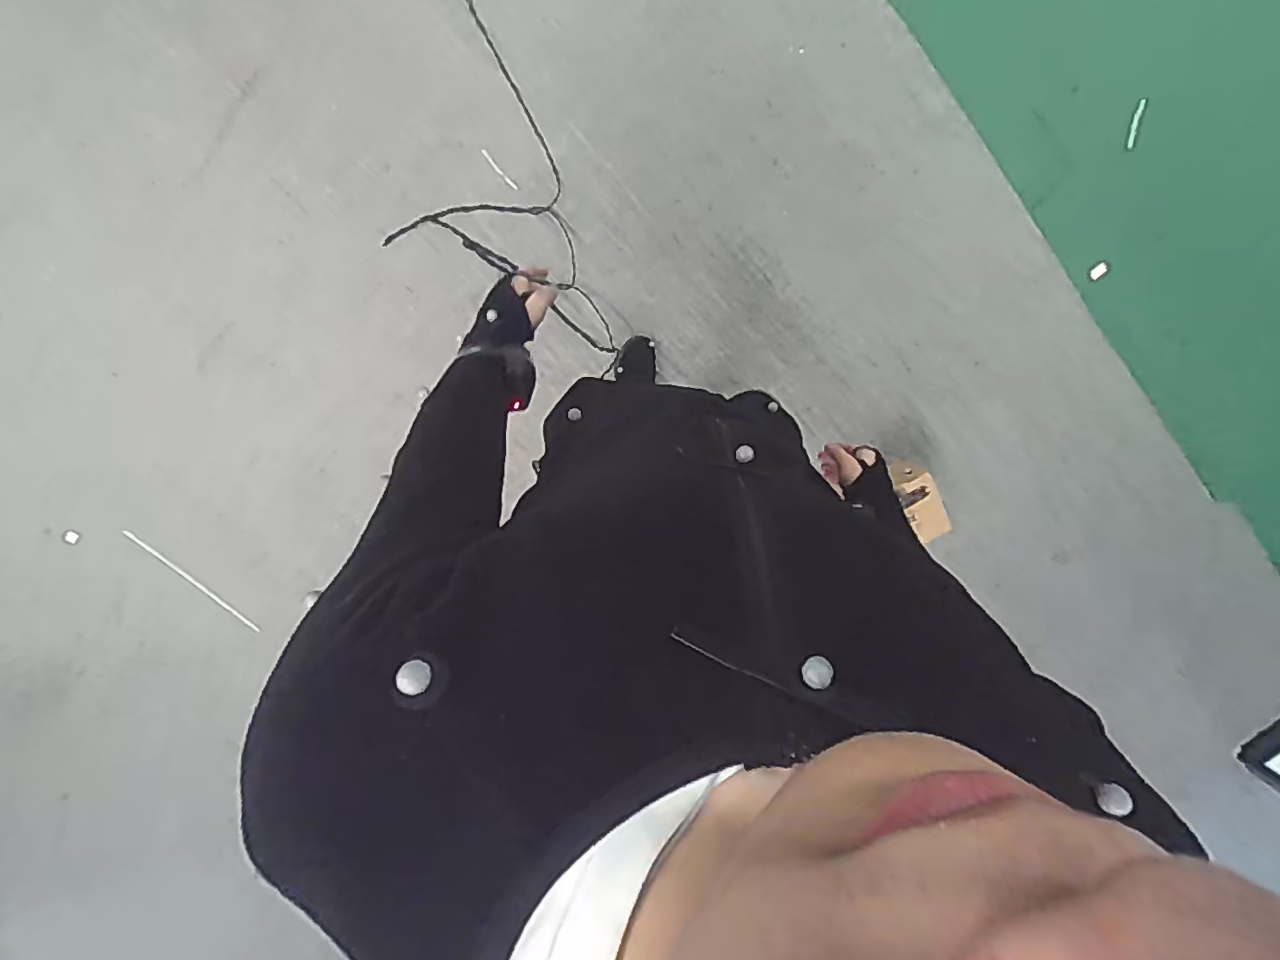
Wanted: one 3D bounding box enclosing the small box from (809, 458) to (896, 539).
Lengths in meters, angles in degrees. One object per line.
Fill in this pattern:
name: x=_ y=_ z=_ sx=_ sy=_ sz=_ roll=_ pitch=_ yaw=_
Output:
small box: x=0.618 y=0.045 z=1.593 sx=0.168 sy=0.176 sz=0.179 roll=-21 pitch=106 yaw=3
